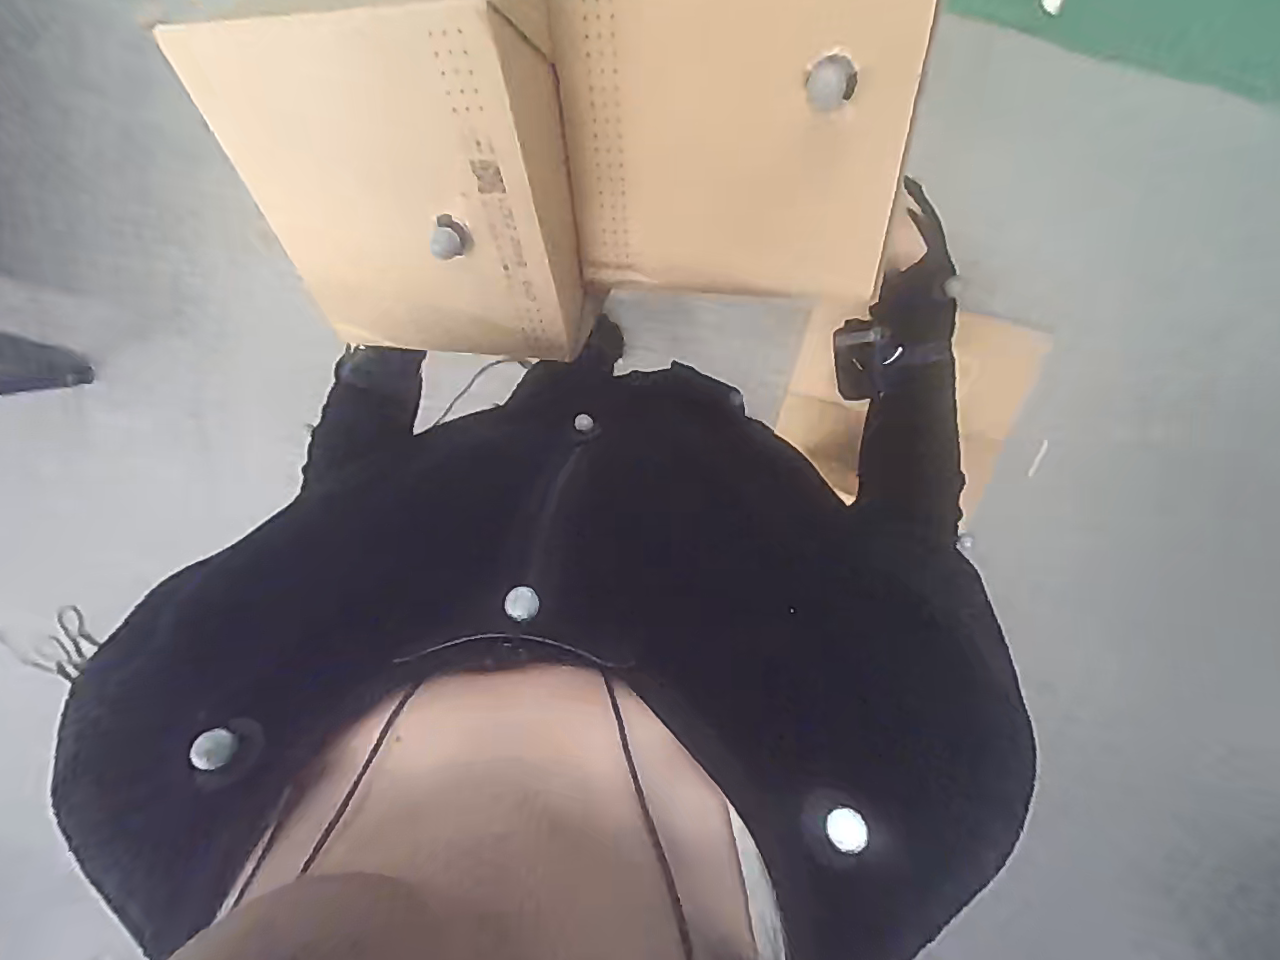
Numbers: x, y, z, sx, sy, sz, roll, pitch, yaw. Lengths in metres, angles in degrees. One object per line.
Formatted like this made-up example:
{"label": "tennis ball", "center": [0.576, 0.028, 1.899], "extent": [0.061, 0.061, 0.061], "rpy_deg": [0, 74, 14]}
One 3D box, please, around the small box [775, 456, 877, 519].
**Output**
{"label": "small box", "center": [0.476, 0.051, 1.419], "extent": [0.179, 0.176, 0.168], "rpy_deg": [21, 108, -5]}

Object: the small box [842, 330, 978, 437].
{"label": "small box", "center": [0.564, -0.213, 1.161], "extent": [0.179, 0.176, 0.168], "rpy_deg": [22, 109, -4]}
